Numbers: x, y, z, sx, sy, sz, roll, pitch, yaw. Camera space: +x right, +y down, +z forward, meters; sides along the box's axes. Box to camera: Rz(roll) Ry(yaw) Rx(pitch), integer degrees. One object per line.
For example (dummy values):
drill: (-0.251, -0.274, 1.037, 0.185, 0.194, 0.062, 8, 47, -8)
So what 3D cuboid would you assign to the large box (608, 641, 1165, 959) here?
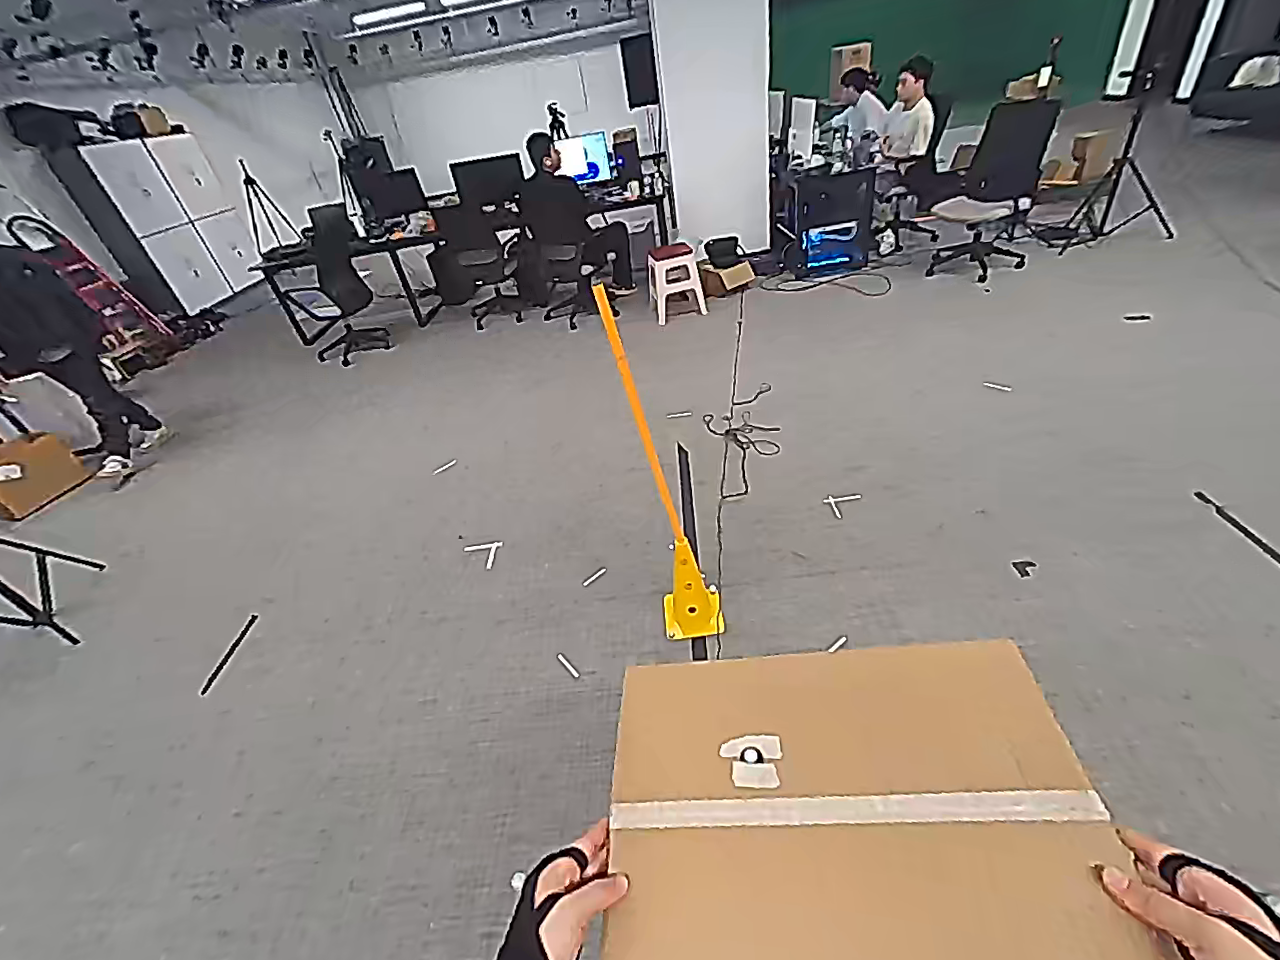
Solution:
large box: (0.208, 0.408, 0.570, 0.408, 0.320, 0.320, -10, 37, 12)
